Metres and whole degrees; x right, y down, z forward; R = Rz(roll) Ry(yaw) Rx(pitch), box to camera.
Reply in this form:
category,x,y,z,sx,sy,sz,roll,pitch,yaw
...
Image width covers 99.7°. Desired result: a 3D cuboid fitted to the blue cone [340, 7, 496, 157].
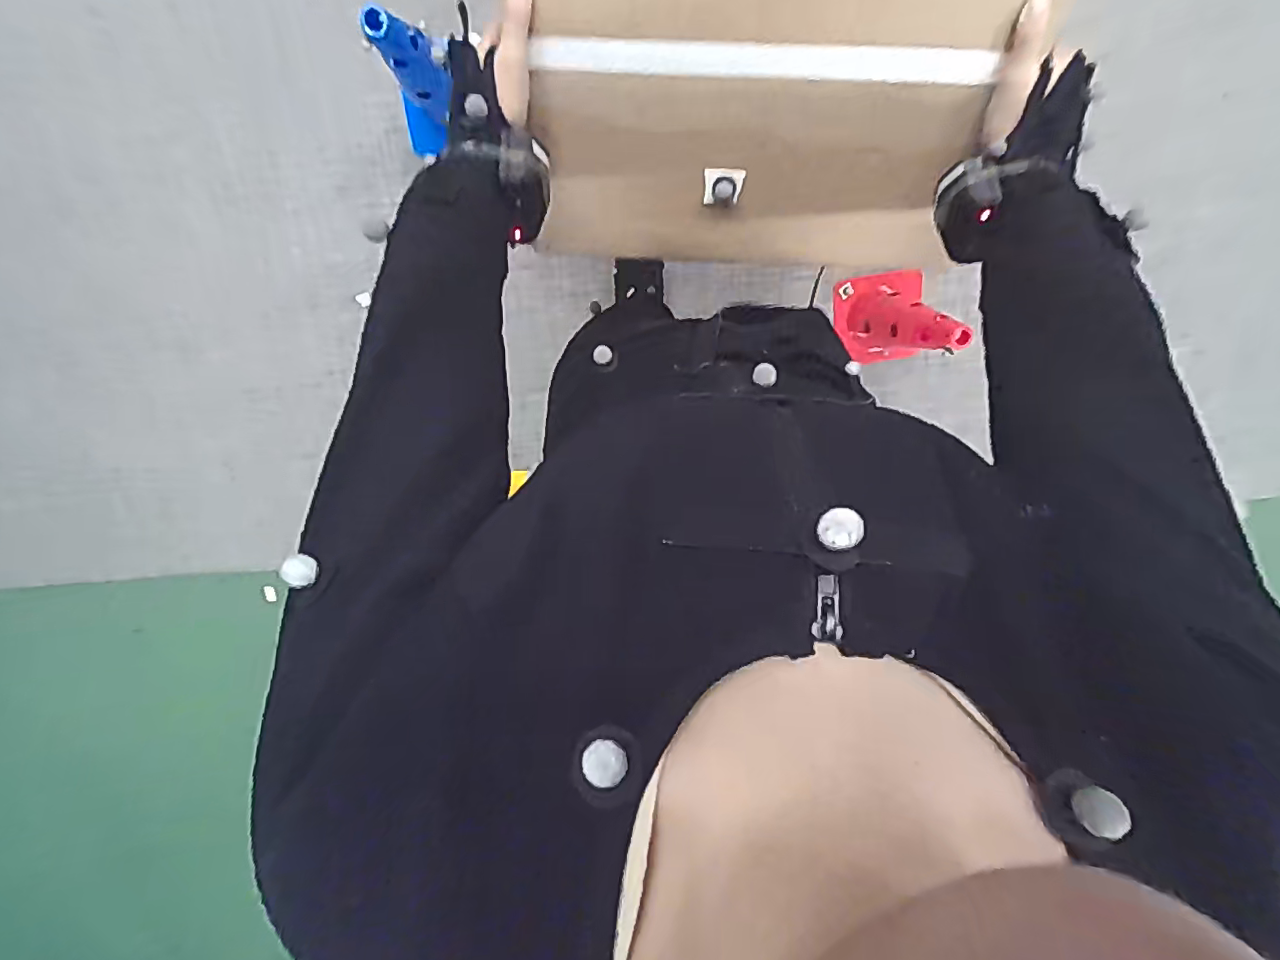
category,x,y,z,sx,sy,sz,roll,pitch,yaw
blue cone,-0.391,-0.708,0.930,0.192,0.380,0.193,-3,110,2

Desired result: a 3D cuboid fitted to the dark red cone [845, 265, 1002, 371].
category,x,y,z,sx,sy,sz,roll,pitch,yaw
dark red cone,0.554,-0.290,1.042,0.202,0.394,0.201,-11,113,4
